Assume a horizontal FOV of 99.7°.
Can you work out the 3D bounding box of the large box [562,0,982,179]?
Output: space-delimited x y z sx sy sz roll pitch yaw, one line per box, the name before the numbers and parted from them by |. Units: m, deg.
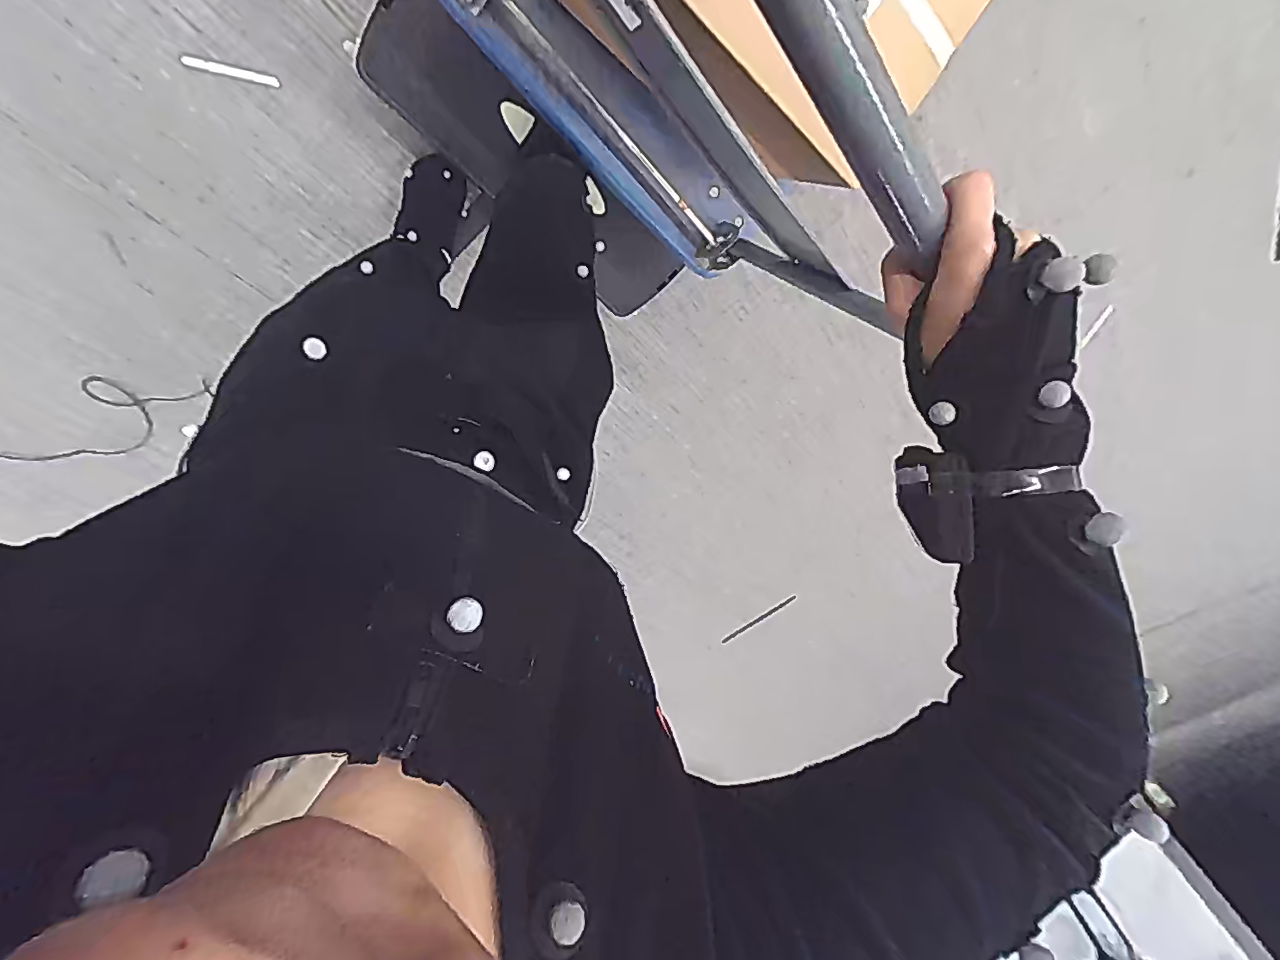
large box | 0.141 -0.627 0.628 0.408 0.320 0.320 23 111 -34
